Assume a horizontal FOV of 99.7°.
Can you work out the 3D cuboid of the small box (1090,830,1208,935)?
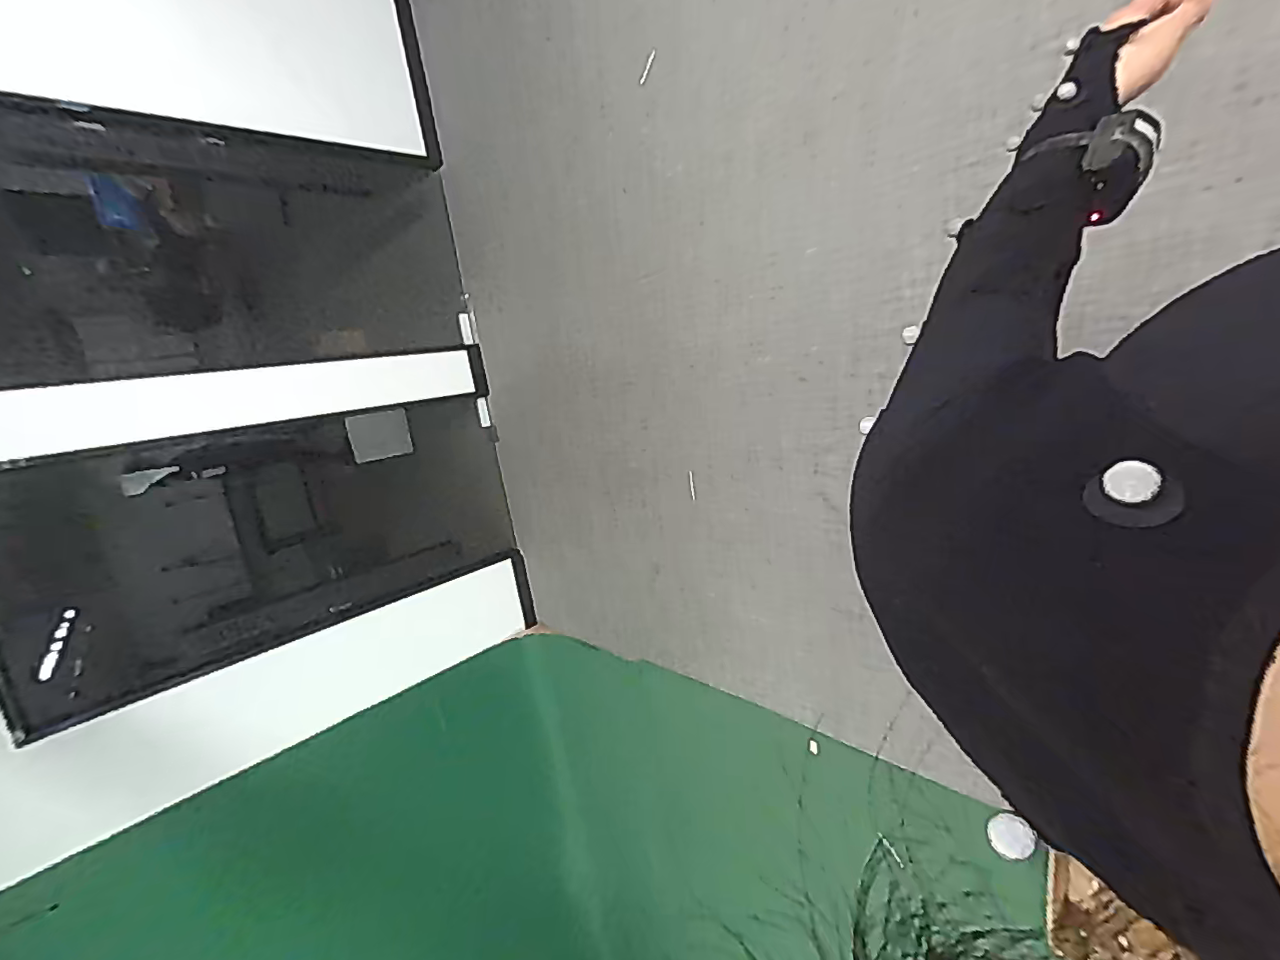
[{"bbox_3d":[1.122,0.936,1.197,0.168,0.176,0.179,14,112,43],"label":"small box"}]

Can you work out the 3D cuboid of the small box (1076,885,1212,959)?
[{"bbox_3d":[1.005,0.969,1.086,0.179,0.176,0.168,15,114,42],"label":"small box"}]
